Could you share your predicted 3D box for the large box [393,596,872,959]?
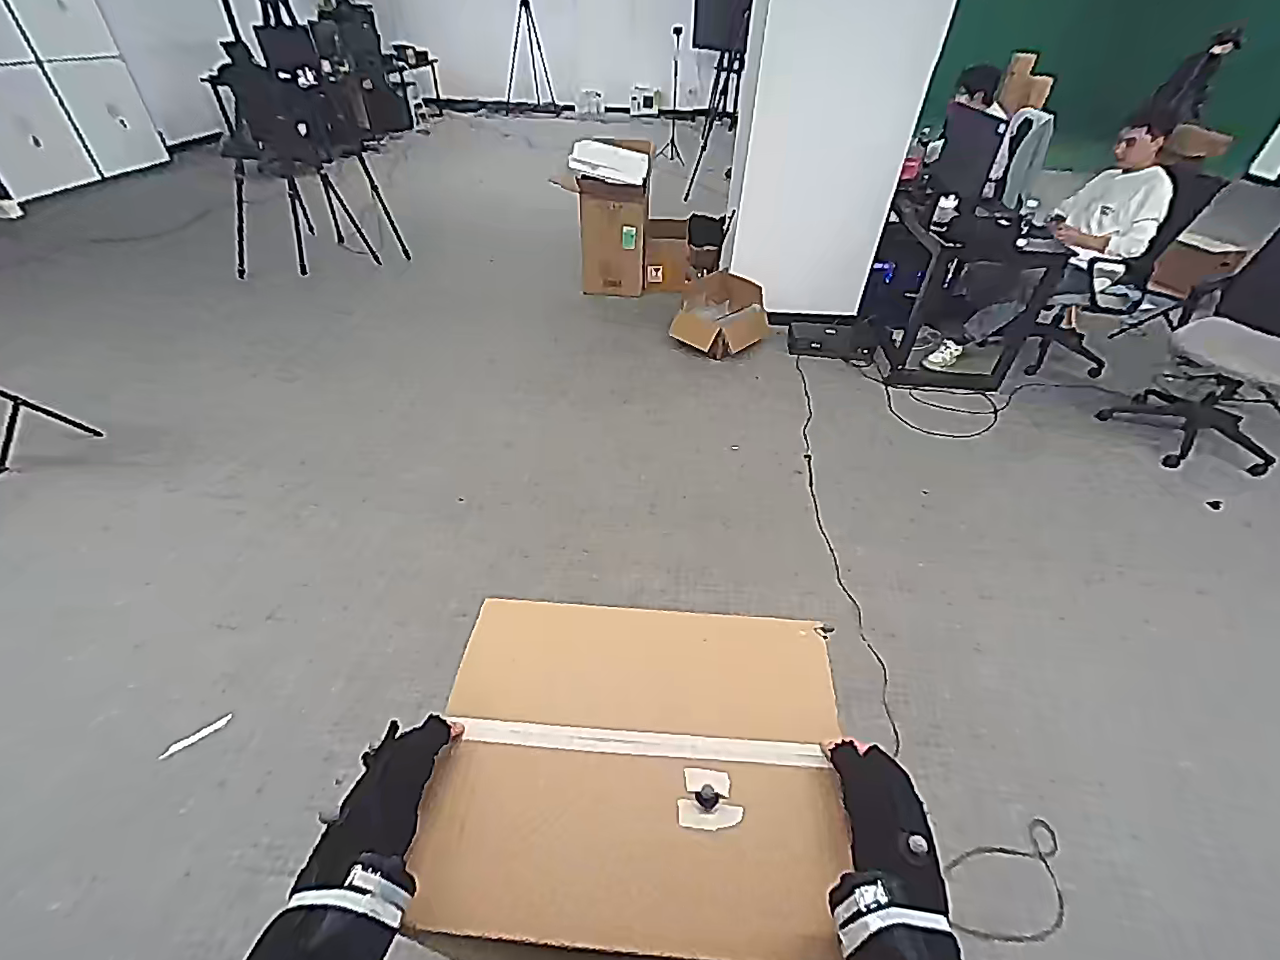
[{"bbox_3d":[-0.003,0.366,0.647,0.408,0.320,0.320,4,44,3],"label":"large box"}]
